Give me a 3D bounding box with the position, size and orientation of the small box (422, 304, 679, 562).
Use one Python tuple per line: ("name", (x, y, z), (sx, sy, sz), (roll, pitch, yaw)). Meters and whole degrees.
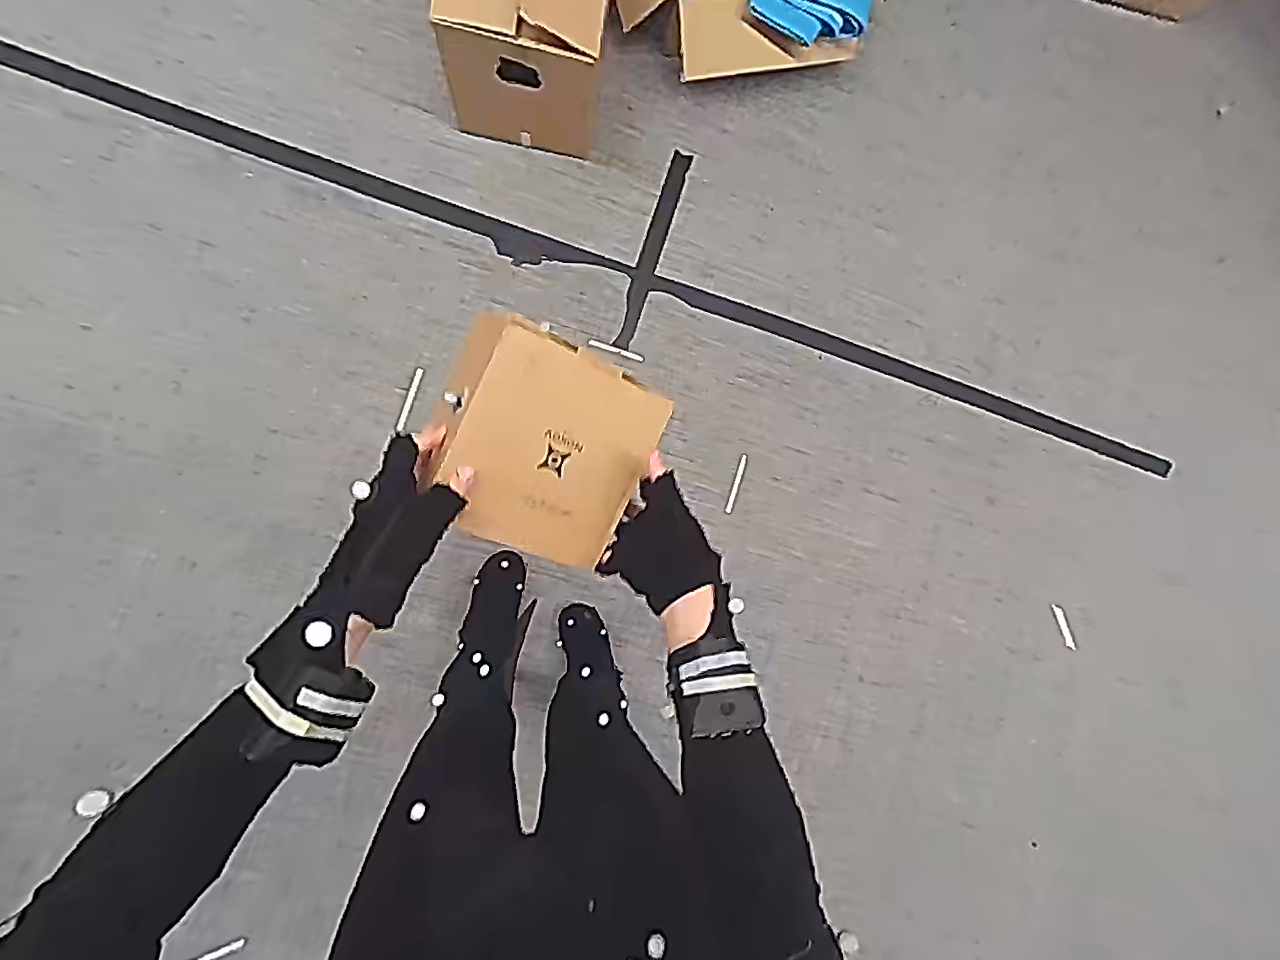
("small box", (-0.098, -0.051, 0.519), (0.168, 0.176, 0.179), (23, 96, -29))
